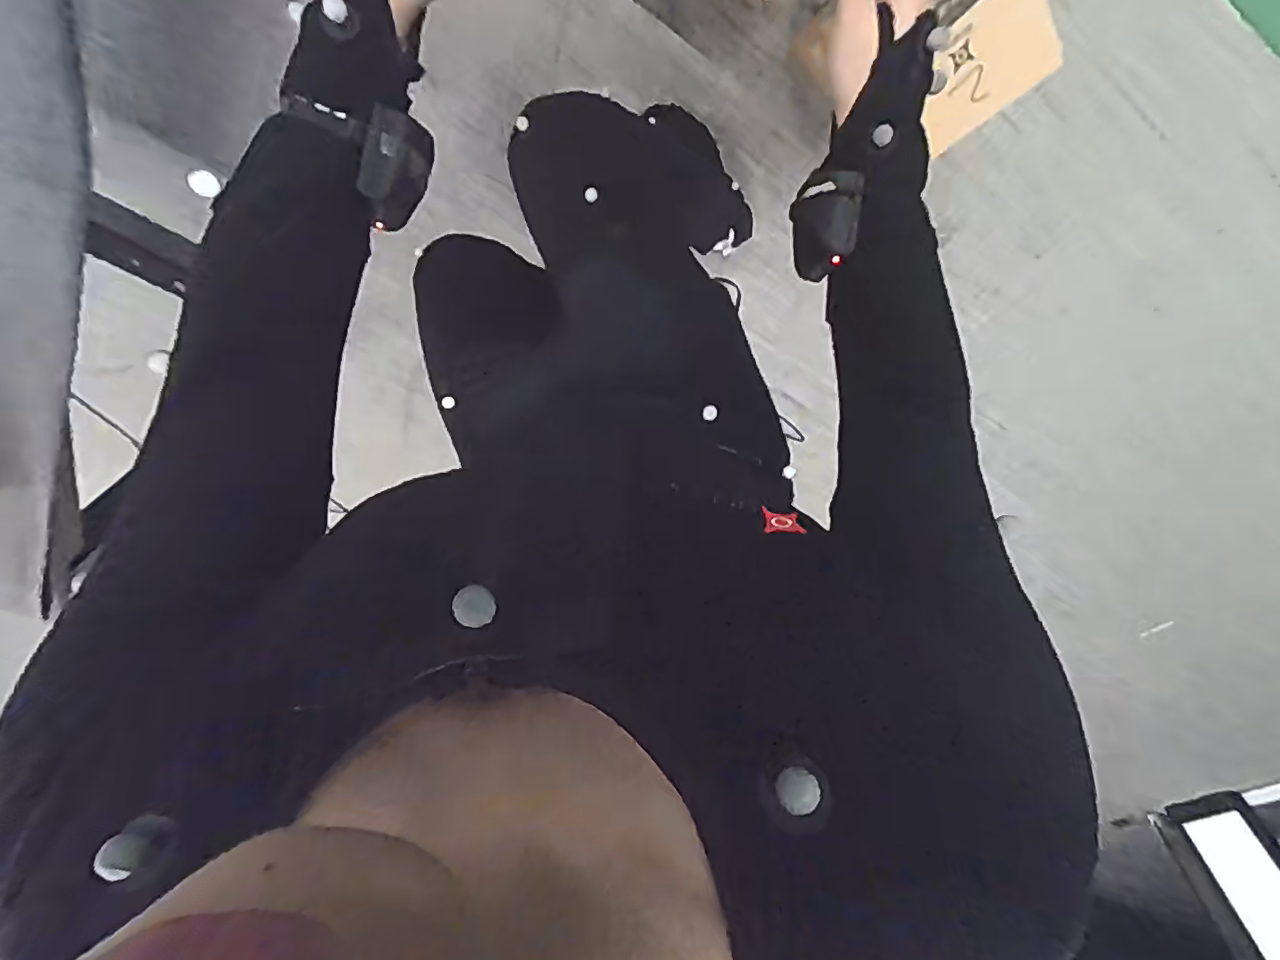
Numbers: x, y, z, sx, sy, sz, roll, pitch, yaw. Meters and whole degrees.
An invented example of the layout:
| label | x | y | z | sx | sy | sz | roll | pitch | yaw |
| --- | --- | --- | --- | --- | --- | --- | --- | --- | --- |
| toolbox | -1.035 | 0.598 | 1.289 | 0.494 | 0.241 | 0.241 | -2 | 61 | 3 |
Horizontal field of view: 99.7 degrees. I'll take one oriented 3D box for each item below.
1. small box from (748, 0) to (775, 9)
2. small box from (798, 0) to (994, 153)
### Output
| label | x | y | z | sx | sy | sz | roll | pitch | yaw |
| --- | --- | --- | --- | --- | --- | --- | --- | --- | --- |
| small box | 0.138 | -0.744 | 0.680 | 0.179 | 0.176 | 0.168 | 26 | 127 | -16 |
| small box | 0.351 | -0.616 | 0.770 | 0.179 | 0.176 | 0.168 | 34 | 125 | -23 |
